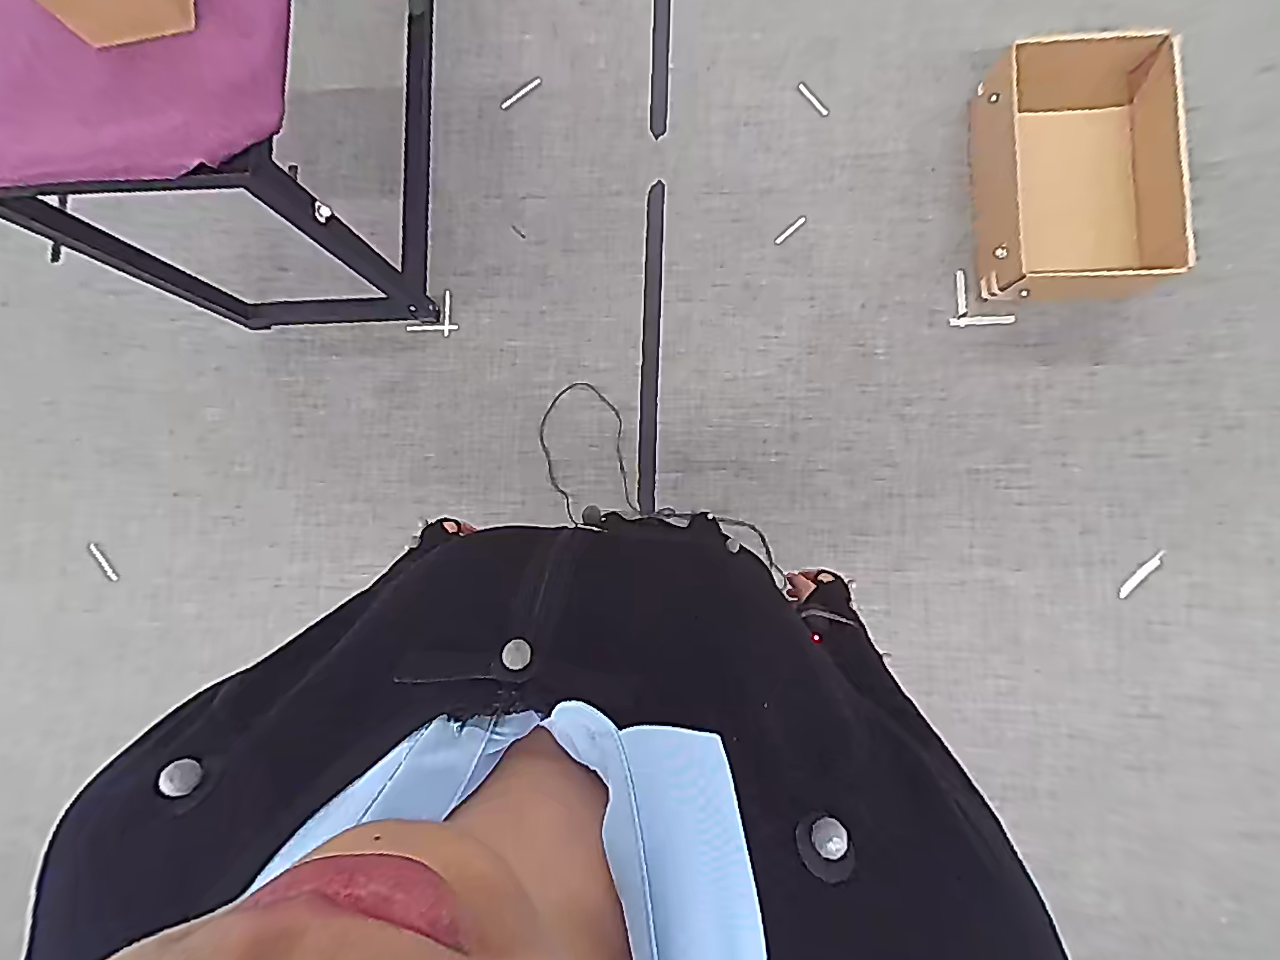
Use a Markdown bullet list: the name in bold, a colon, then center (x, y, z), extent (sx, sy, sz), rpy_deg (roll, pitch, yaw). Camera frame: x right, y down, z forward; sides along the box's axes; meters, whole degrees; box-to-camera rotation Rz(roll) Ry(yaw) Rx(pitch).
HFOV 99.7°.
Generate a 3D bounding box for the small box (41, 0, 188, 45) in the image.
- **small box**: center (-0.817, -0.802, 0.803), extent (0.179, 0.176, 0.168), rpy_deg (-8, 85, 3)
